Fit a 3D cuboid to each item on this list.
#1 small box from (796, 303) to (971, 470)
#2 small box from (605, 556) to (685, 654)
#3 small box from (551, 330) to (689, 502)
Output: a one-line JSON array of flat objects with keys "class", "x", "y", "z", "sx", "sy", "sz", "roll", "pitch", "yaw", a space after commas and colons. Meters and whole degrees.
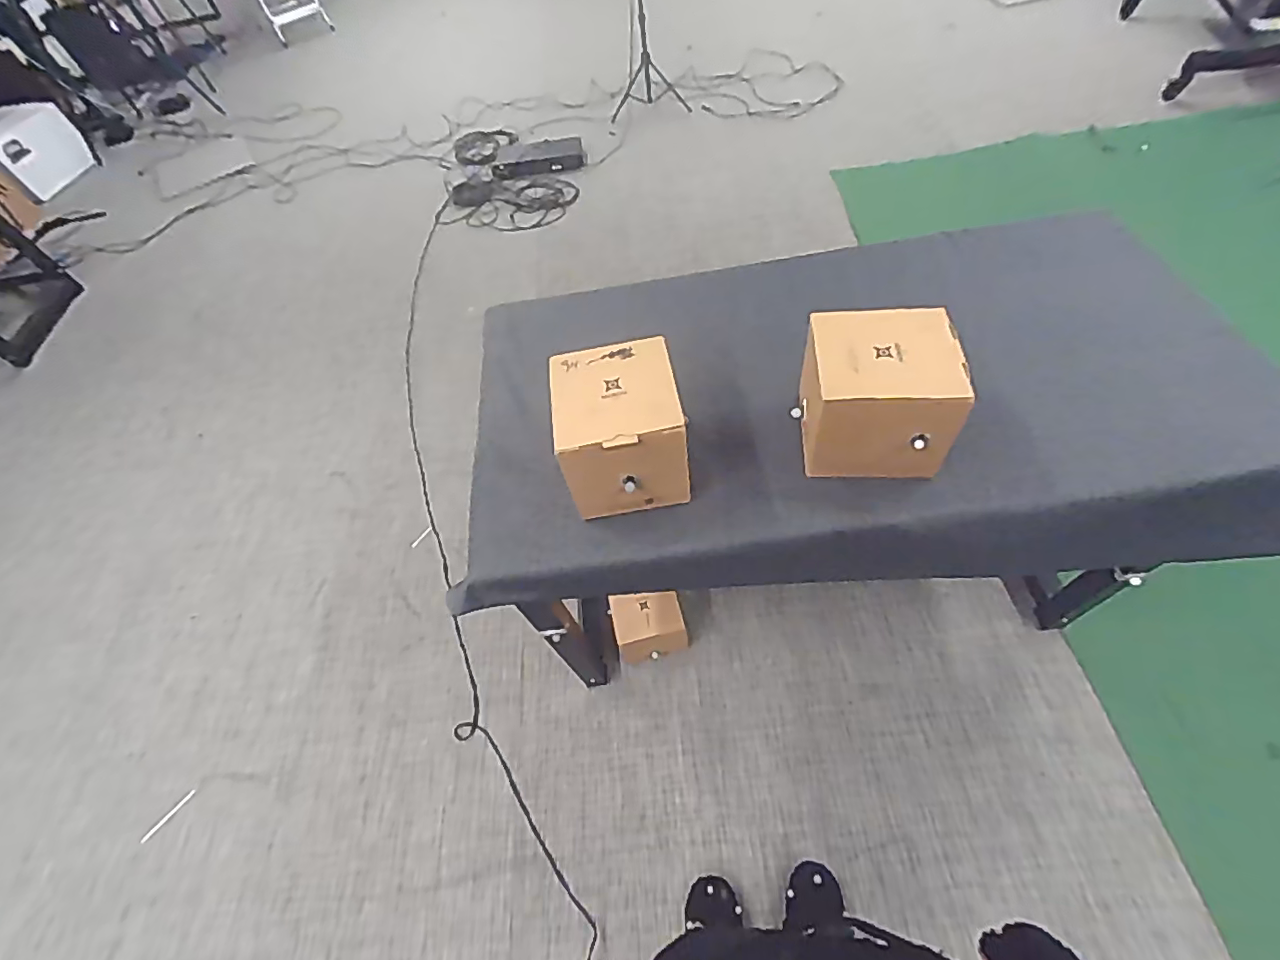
[{"class": "small box", "x": 0.324, "y": -0.125, "z": 0.760, "sx": 0.179, "sy": 0.176, "sz": 0.168, "roll": -1, "pitch": 55, "yaw": 9}, {"class": "small box", "x": 0.015, "y": 0.322, "z": 1.386, "sx": 0.168, "sy": 0.176, "sz": 0.179, "roll": -14, "pitch": 57, "yaw": -1}, {"class": "small box", "x": -0.026, "y": -0.082, "z": 0.776, "sx": 0.168, "sy": 0.176, "sz": 0.179, "roll": -10, "pitch": 55, "yaw": 0}]
